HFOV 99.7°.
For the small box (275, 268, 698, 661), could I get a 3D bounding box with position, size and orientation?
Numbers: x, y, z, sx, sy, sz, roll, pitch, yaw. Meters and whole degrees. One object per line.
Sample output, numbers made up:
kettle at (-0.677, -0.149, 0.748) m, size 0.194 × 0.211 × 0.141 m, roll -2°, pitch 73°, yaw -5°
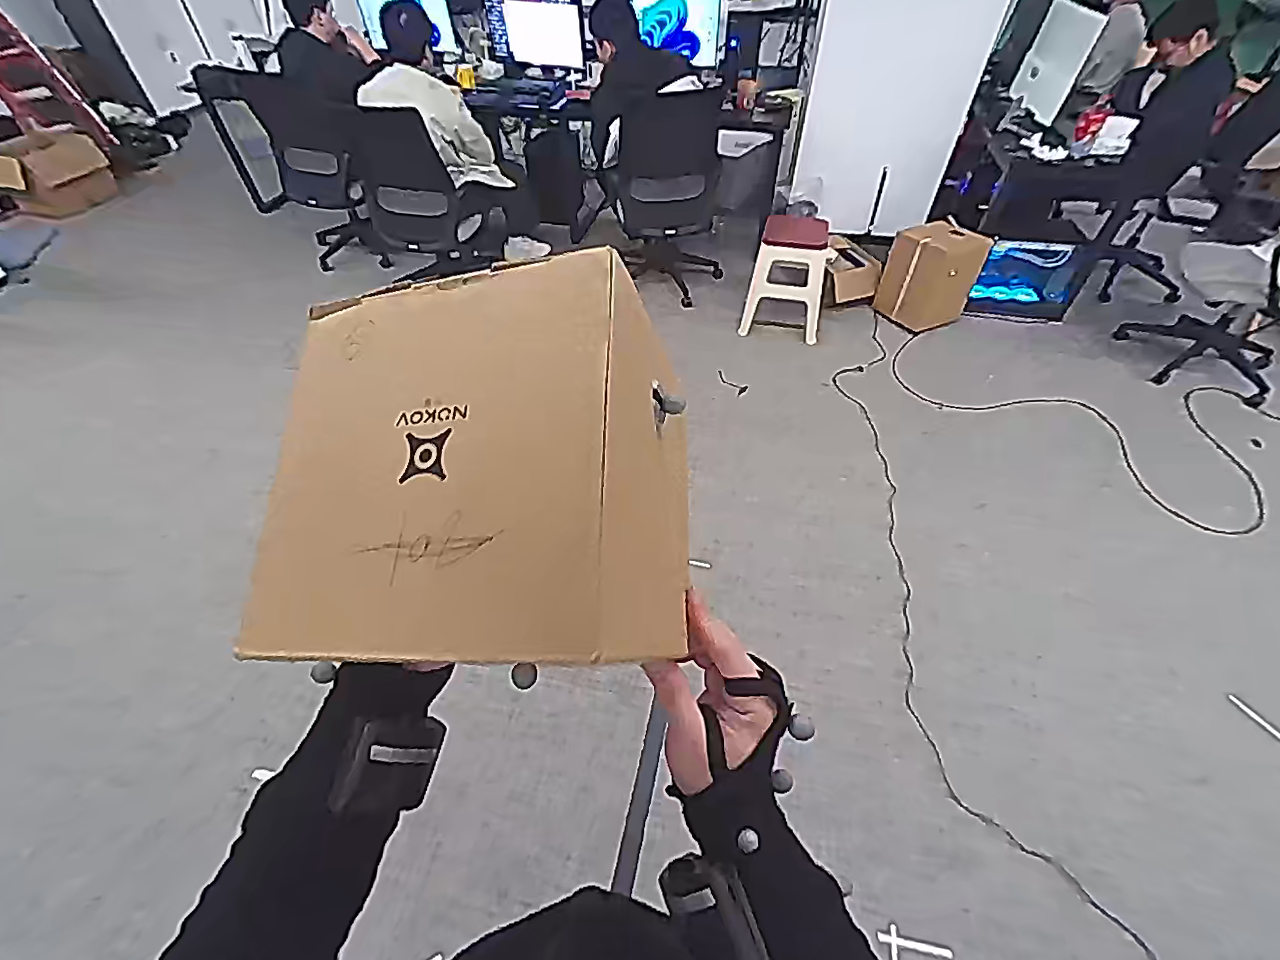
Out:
small box at (-0.062, 0.013, 0.318) m, size 0.168 × 0.176 × 0.179 m, roll -6°, pitch 72°, yaw 15°
